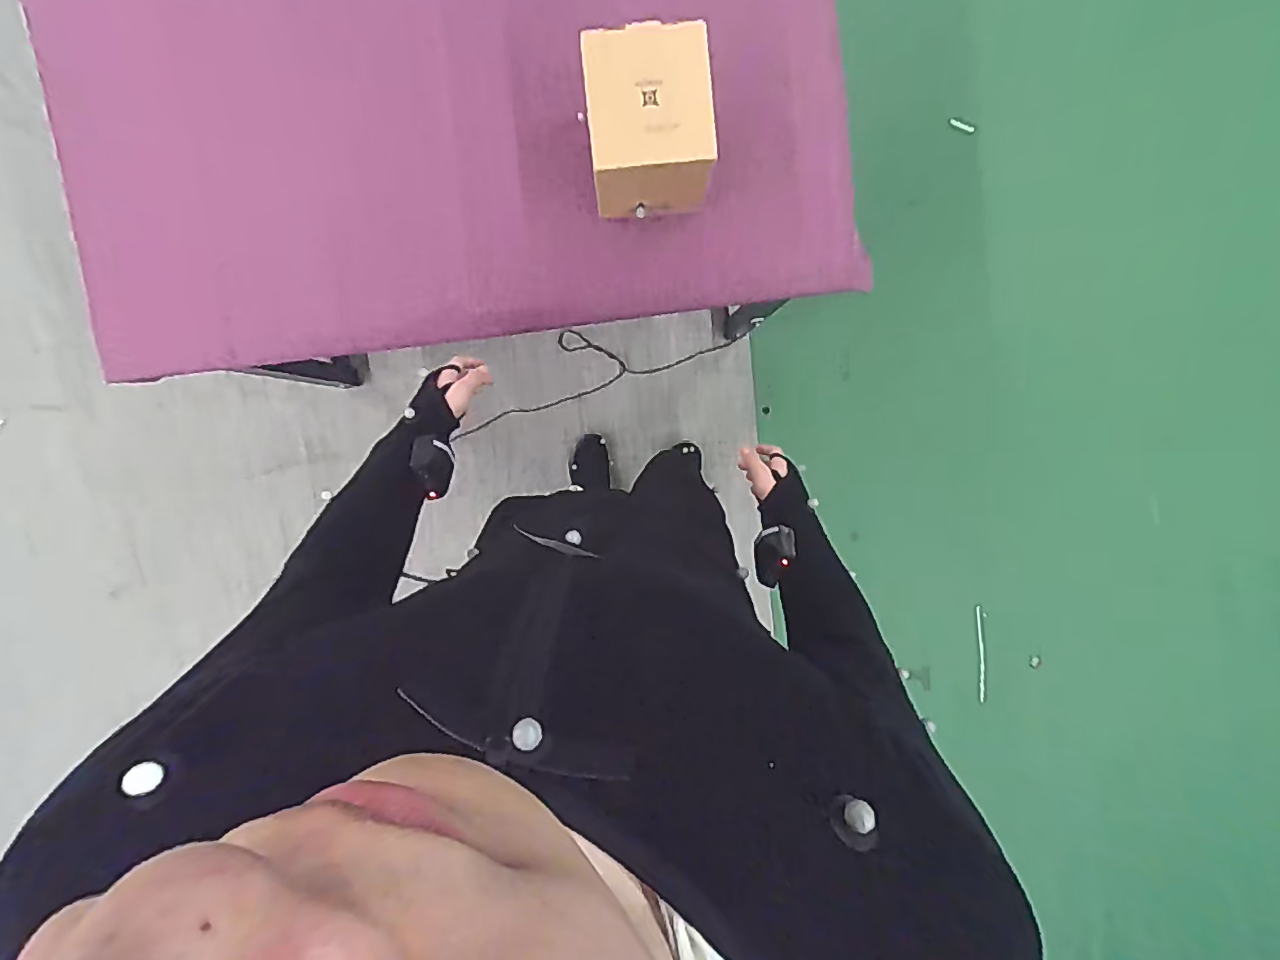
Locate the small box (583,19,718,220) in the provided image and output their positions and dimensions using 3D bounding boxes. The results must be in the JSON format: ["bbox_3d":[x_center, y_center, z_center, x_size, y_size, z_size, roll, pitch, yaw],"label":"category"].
[{"bbox_3d":[0.012,-0.500,0.773,0.168,0.176,0.179,-5,94,0],"label":"small box"}]
